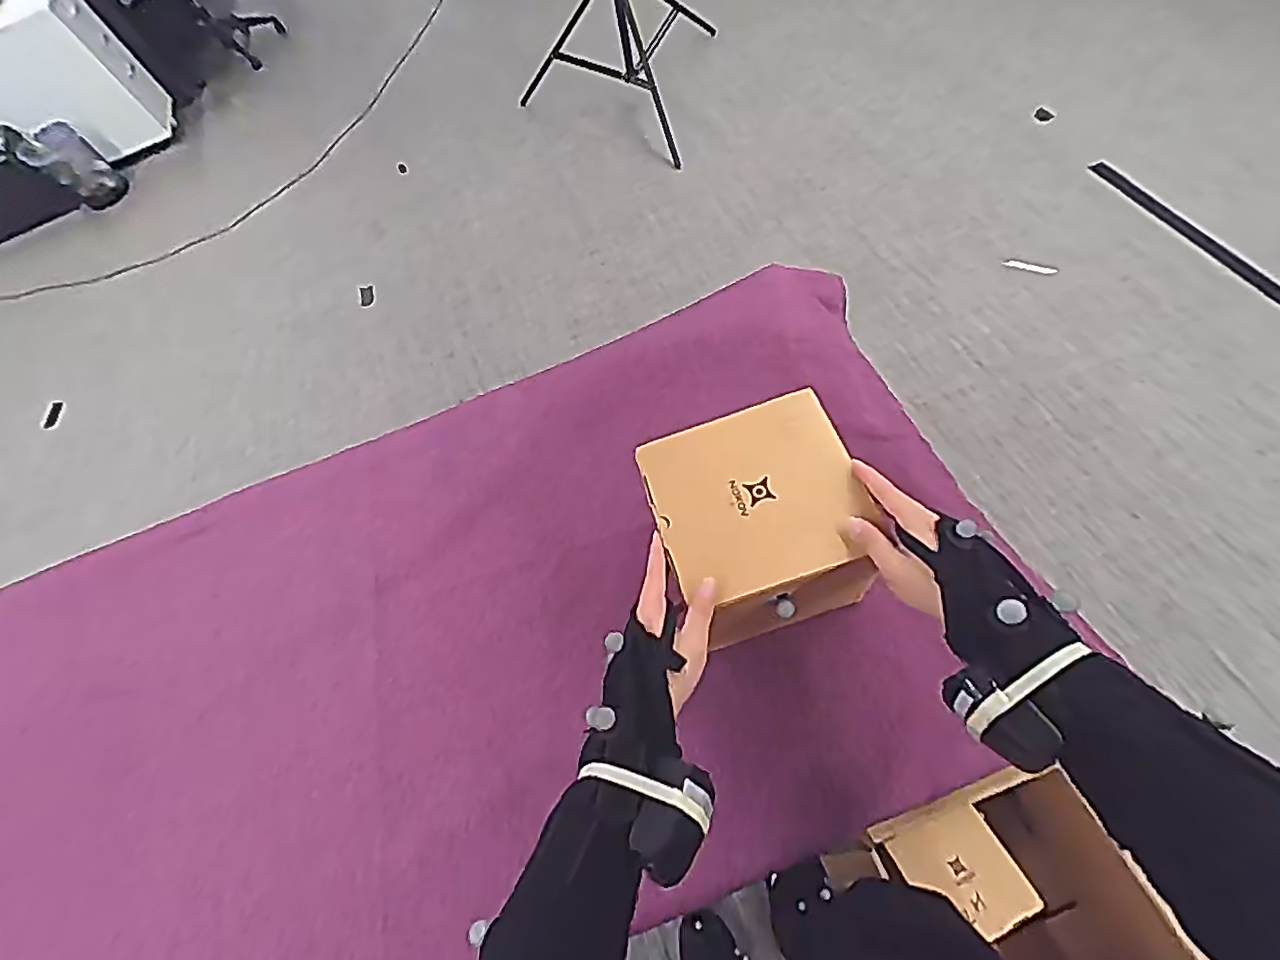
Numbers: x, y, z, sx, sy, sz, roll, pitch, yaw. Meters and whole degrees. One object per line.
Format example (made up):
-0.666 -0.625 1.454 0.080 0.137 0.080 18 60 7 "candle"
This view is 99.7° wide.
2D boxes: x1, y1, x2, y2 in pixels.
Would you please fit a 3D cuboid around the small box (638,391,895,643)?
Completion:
0.114 0.047 0.535 0.179 0.176 0.168 -19 61 3 "small box"
